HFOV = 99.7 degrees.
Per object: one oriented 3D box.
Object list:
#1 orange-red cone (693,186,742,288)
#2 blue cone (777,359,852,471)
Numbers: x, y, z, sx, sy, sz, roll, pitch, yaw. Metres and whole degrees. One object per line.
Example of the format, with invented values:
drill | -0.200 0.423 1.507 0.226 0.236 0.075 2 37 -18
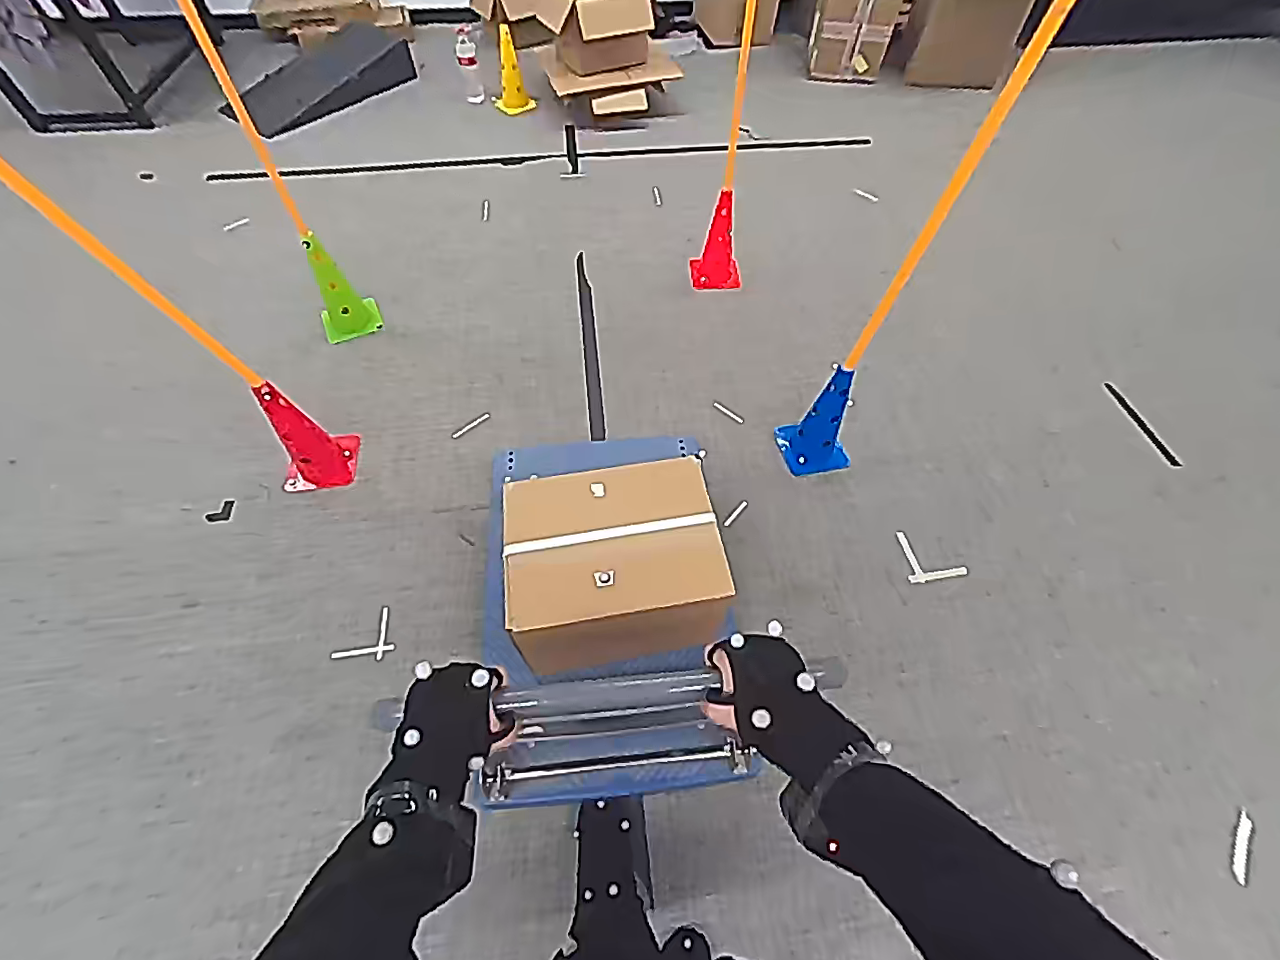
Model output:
orange-red cone | 0.322 -0.951 2.086 0.199 0.360 0.198 1 57 -2
blue cone | 0.561 -0.205 1.620 0.193 0.380 0.192 -9 56 -7
